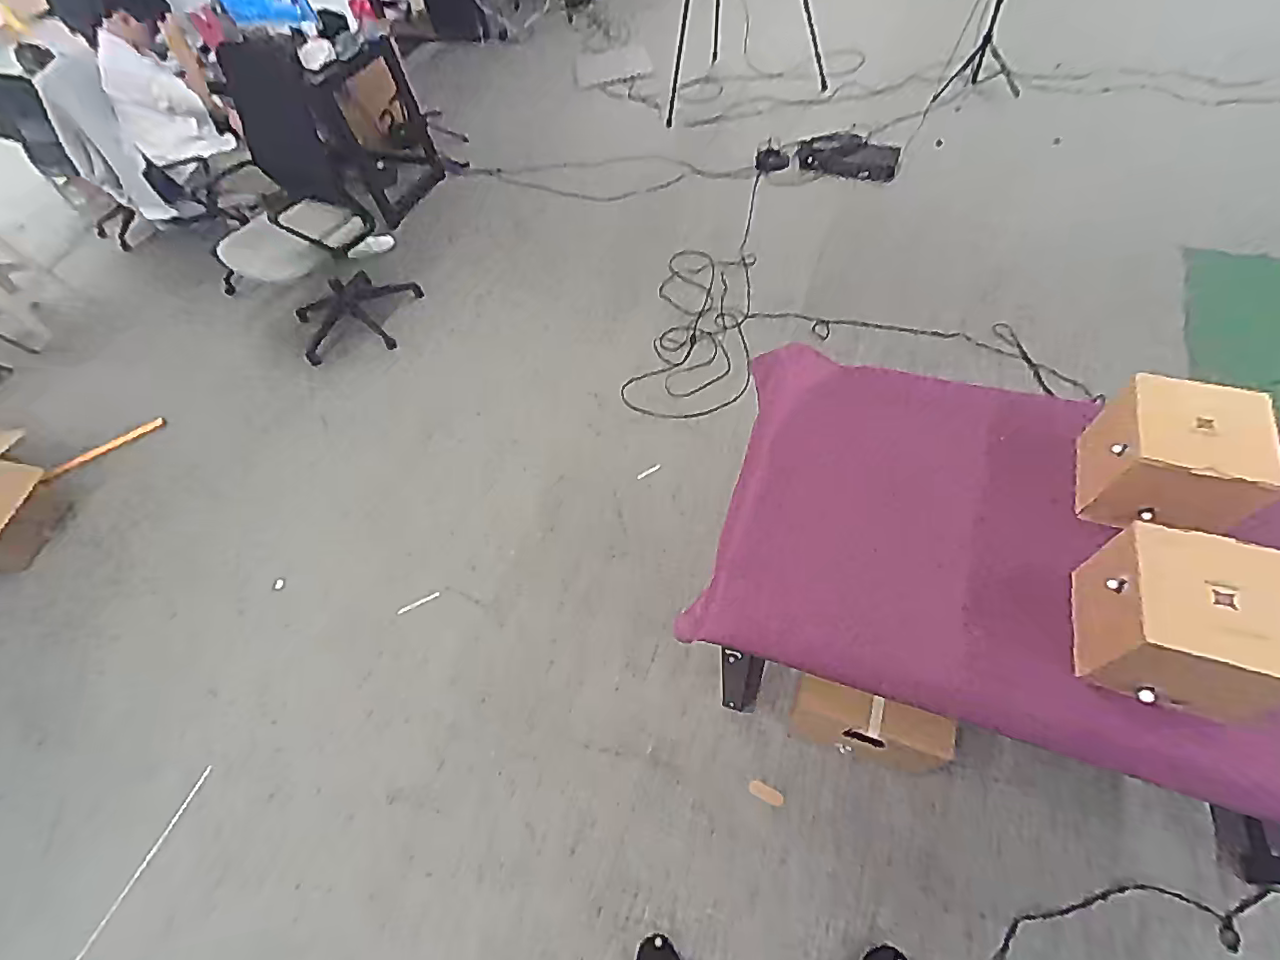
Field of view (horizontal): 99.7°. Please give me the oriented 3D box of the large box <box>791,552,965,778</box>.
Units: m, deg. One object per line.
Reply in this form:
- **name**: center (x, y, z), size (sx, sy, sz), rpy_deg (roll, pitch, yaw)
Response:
- **large box**: center (0.575, 0.456, 1.336), size (0.320, 0.320, 0.408), rpy_deg (14, 58, 18)

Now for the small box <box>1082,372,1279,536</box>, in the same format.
- **small box**: center (0.811, -0.031, 0.822), size (0.168, 0.176, 0.179), rpy_deg (16, 61, 19)

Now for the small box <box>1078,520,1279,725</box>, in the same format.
- **small box**: center (0.698, 0.184, 0.692), size (0.168, 0.176, 0.179), rpy_deg (15, 59, 20)
